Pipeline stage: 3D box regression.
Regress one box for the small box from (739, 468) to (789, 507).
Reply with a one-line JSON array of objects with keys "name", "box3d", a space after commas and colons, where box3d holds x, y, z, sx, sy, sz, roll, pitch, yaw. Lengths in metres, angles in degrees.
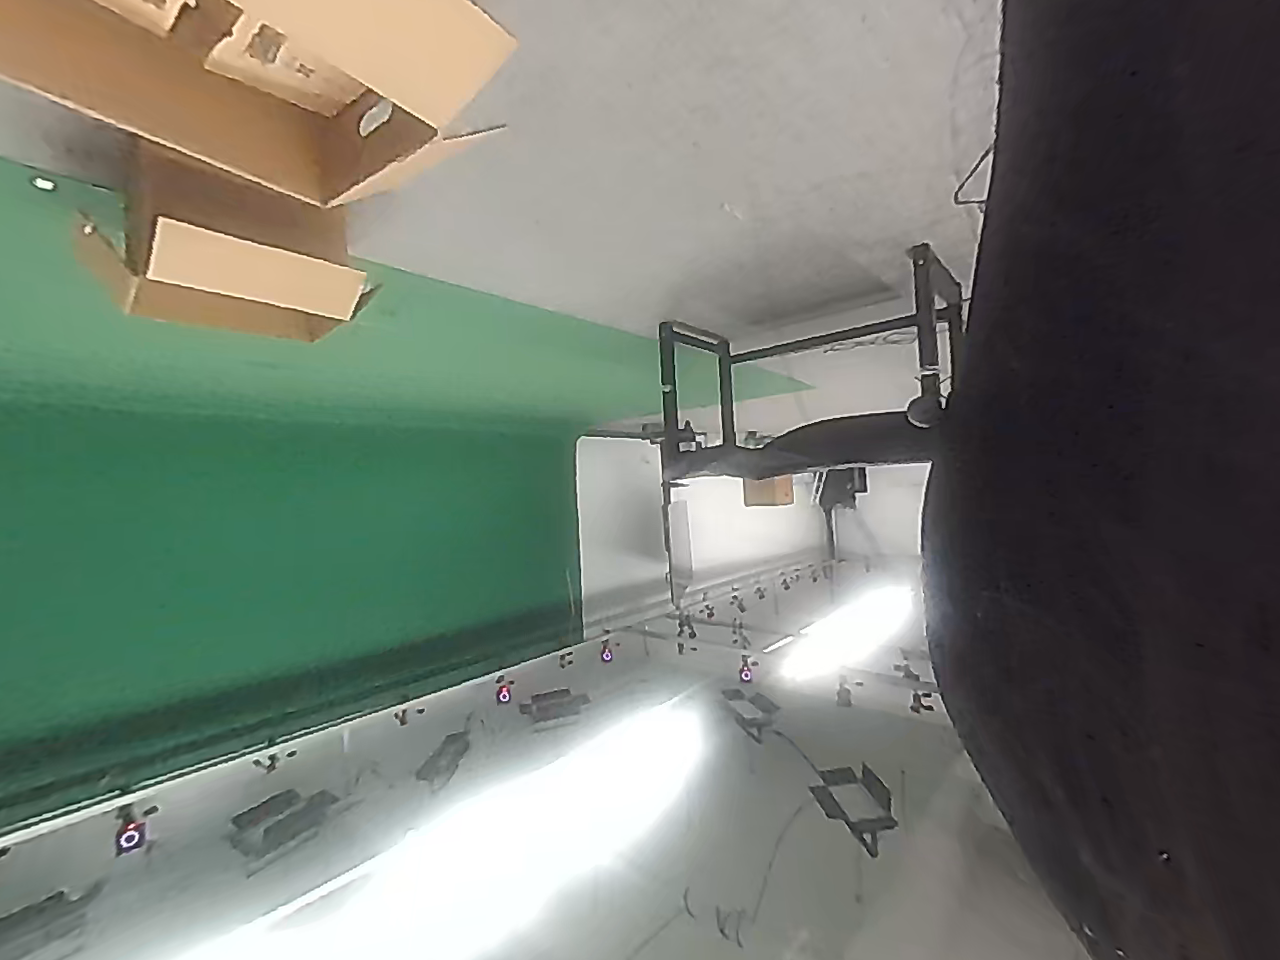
[{"name": "small box", "box3d": [0.575, 0.034, 2.507, 0.168, 0.176, 0.179, -5, 178, 42]}]
